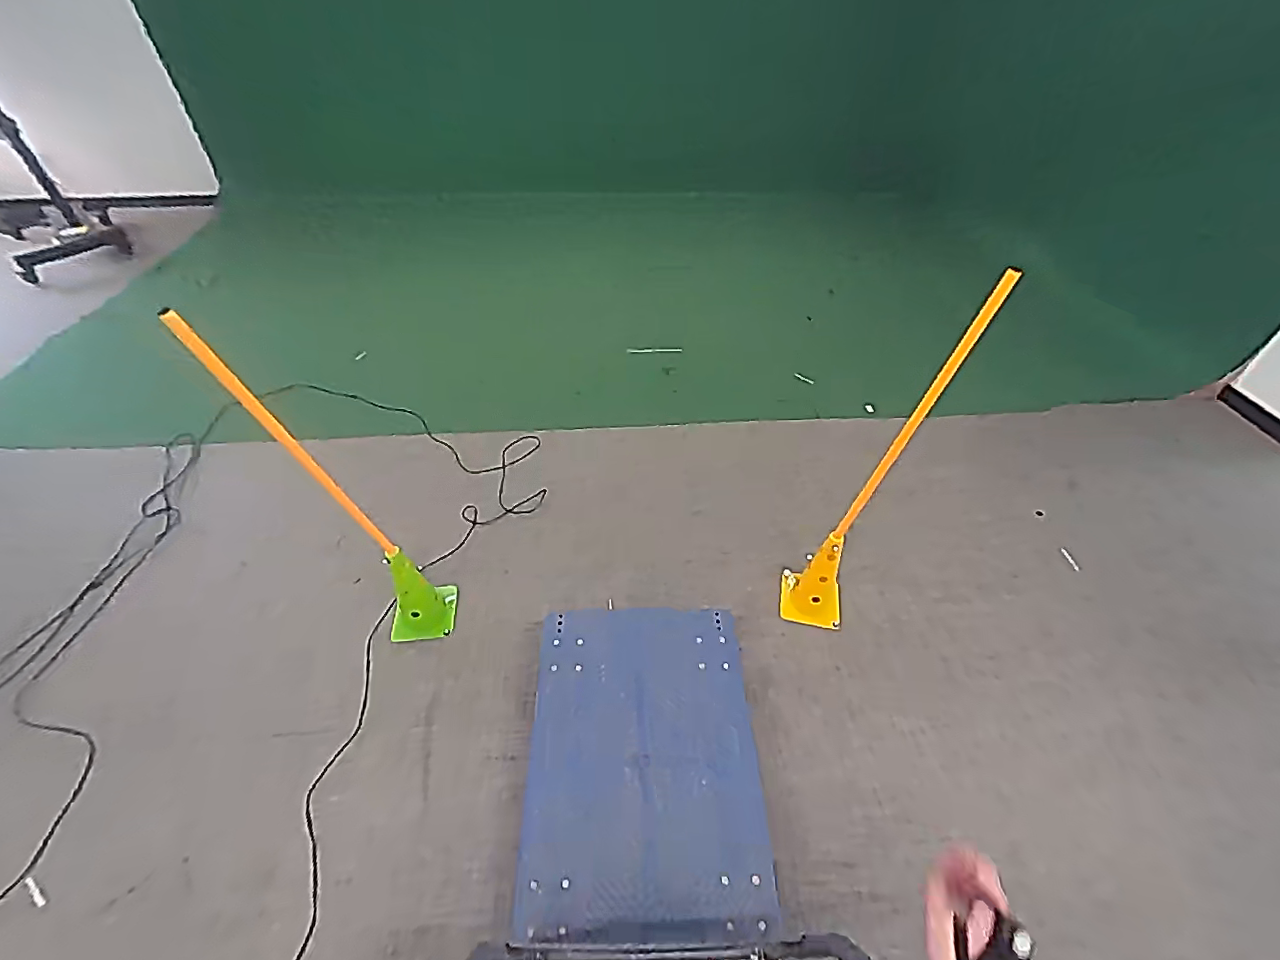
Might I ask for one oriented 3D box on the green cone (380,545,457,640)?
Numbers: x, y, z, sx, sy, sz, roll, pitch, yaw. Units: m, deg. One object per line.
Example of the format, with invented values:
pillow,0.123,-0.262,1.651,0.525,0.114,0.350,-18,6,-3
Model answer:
green cone,-0.739,0.327,1.725,0.202,0.368,0.200,-7,46,-4
